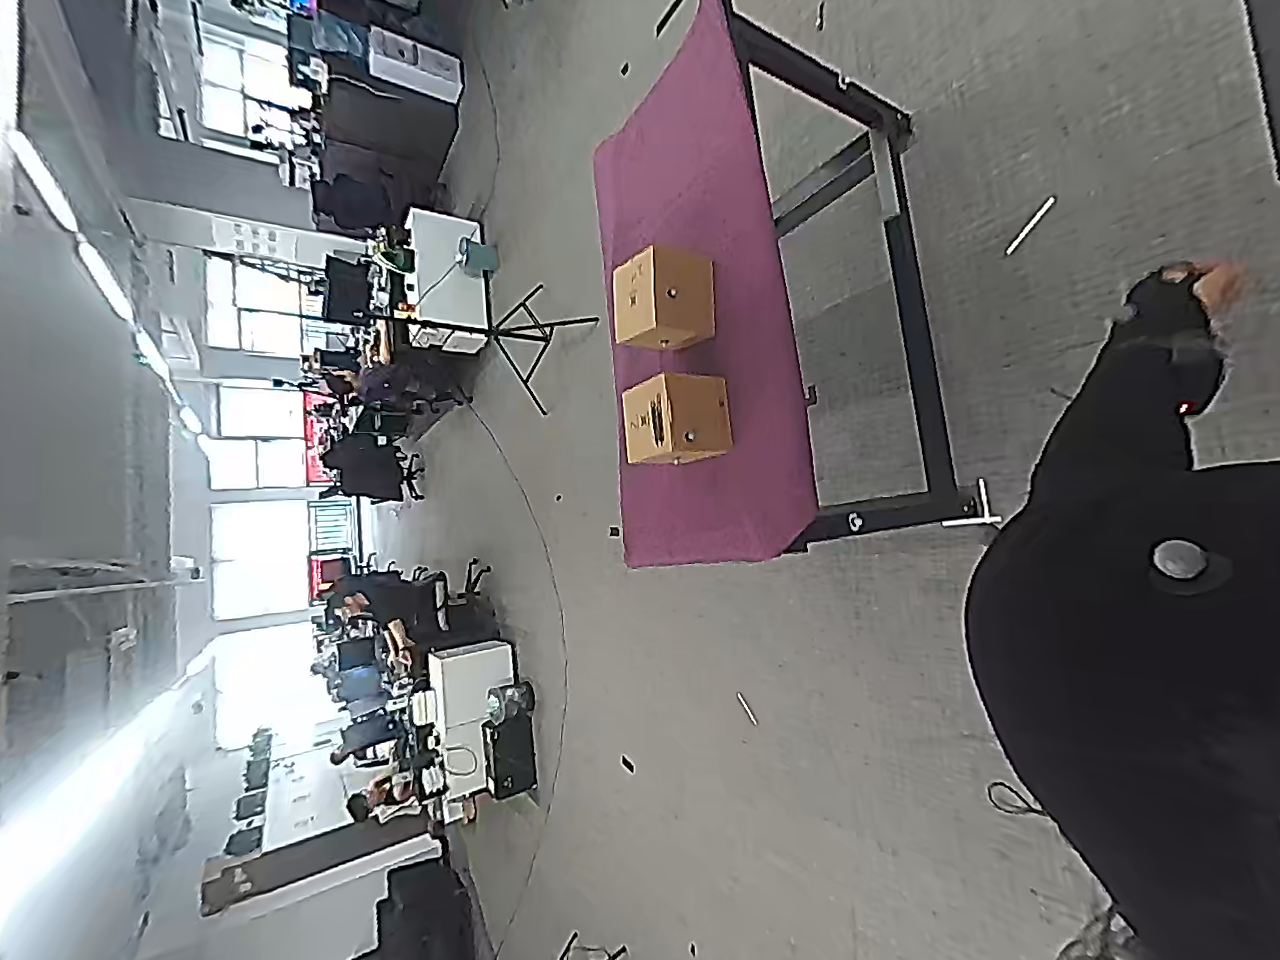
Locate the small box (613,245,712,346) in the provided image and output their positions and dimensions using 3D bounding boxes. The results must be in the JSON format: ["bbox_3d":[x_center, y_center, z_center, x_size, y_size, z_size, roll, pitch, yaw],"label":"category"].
[{"bbox_3d":[0.053,-0.408,1.234,0.168,0.176,0.179,0,91,56],"label":"small box"}]
